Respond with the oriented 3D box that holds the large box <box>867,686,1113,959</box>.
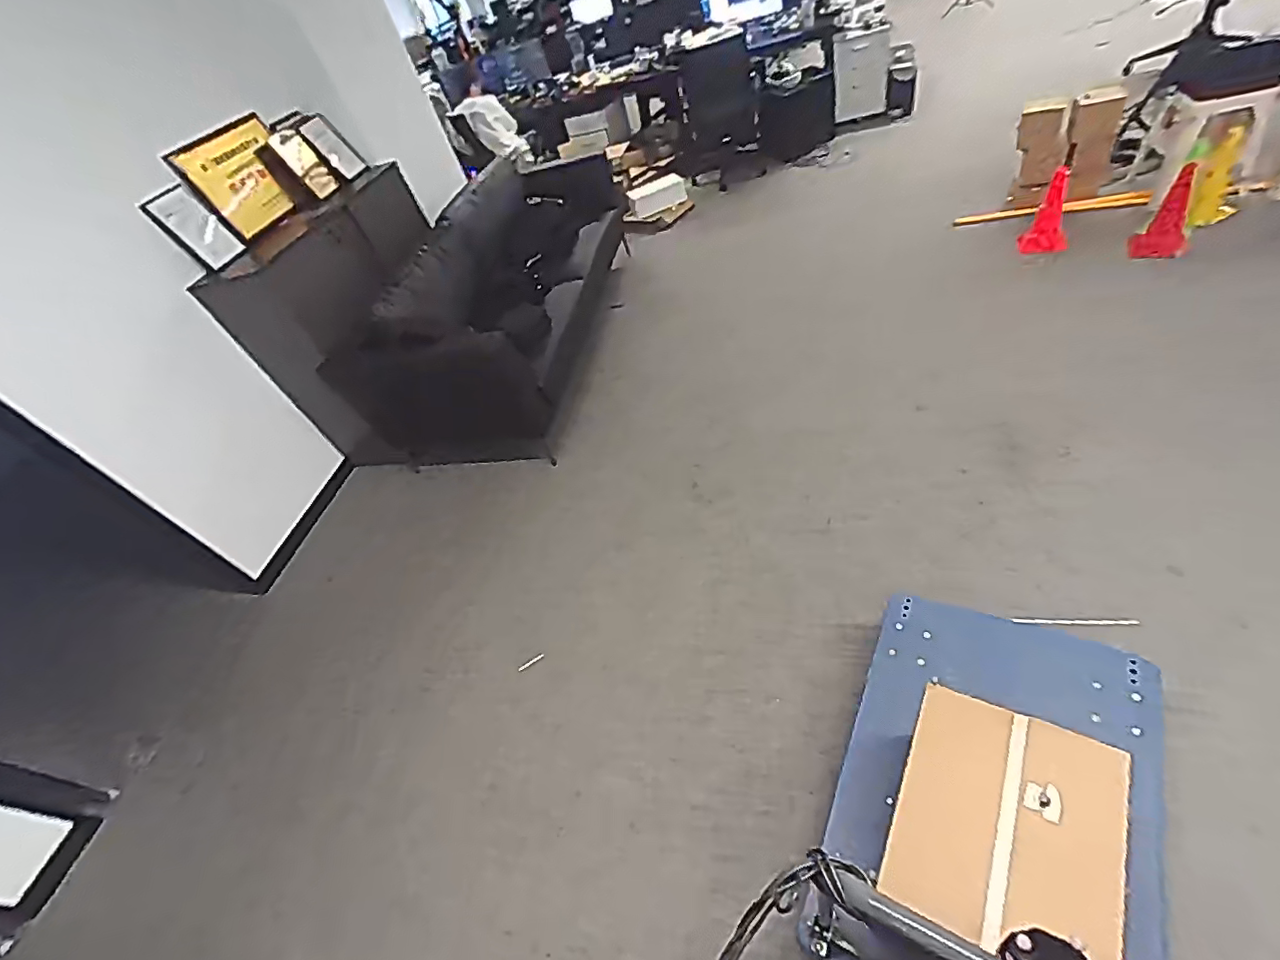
[{"bbox_3d":[0.633,0.685,1.008,0.320,0.320,0.408,14,53,30],"label":"large box"}]
